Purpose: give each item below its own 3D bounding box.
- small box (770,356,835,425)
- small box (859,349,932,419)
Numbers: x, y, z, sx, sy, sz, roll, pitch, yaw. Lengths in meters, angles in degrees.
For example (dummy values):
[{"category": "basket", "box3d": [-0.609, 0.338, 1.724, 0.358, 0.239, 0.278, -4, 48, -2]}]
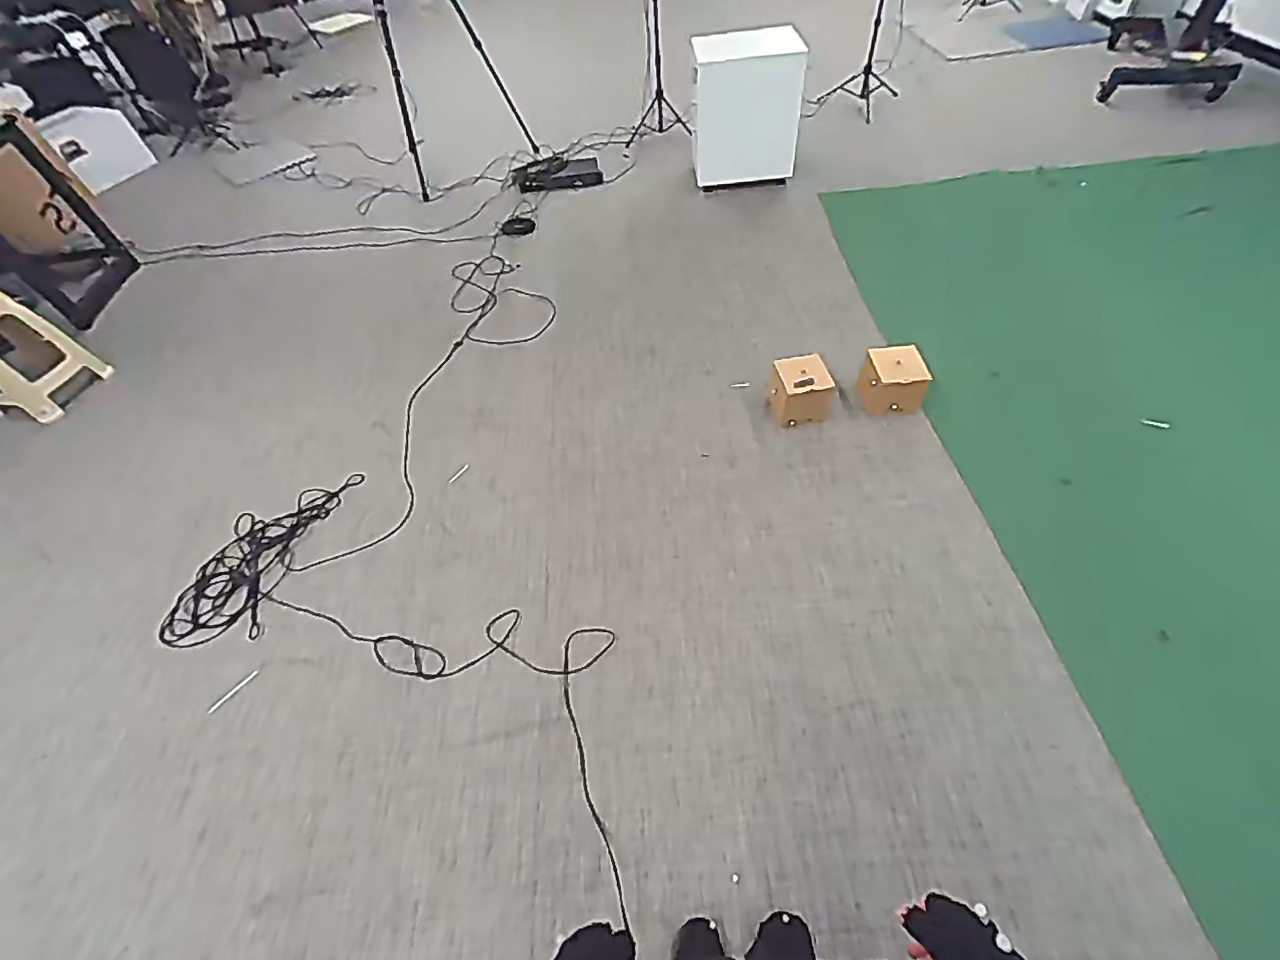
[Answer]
[{"category": "small box", "box3d": [0.571, -0.310, 1.921, 0.168, 0.176, 0.179, -9, 52, -1]}, {"category": "small box", "box3d": [0.894, -0.339, 1.915, 0.168, 0.176, 0.179, -5, 53, 2]}]
